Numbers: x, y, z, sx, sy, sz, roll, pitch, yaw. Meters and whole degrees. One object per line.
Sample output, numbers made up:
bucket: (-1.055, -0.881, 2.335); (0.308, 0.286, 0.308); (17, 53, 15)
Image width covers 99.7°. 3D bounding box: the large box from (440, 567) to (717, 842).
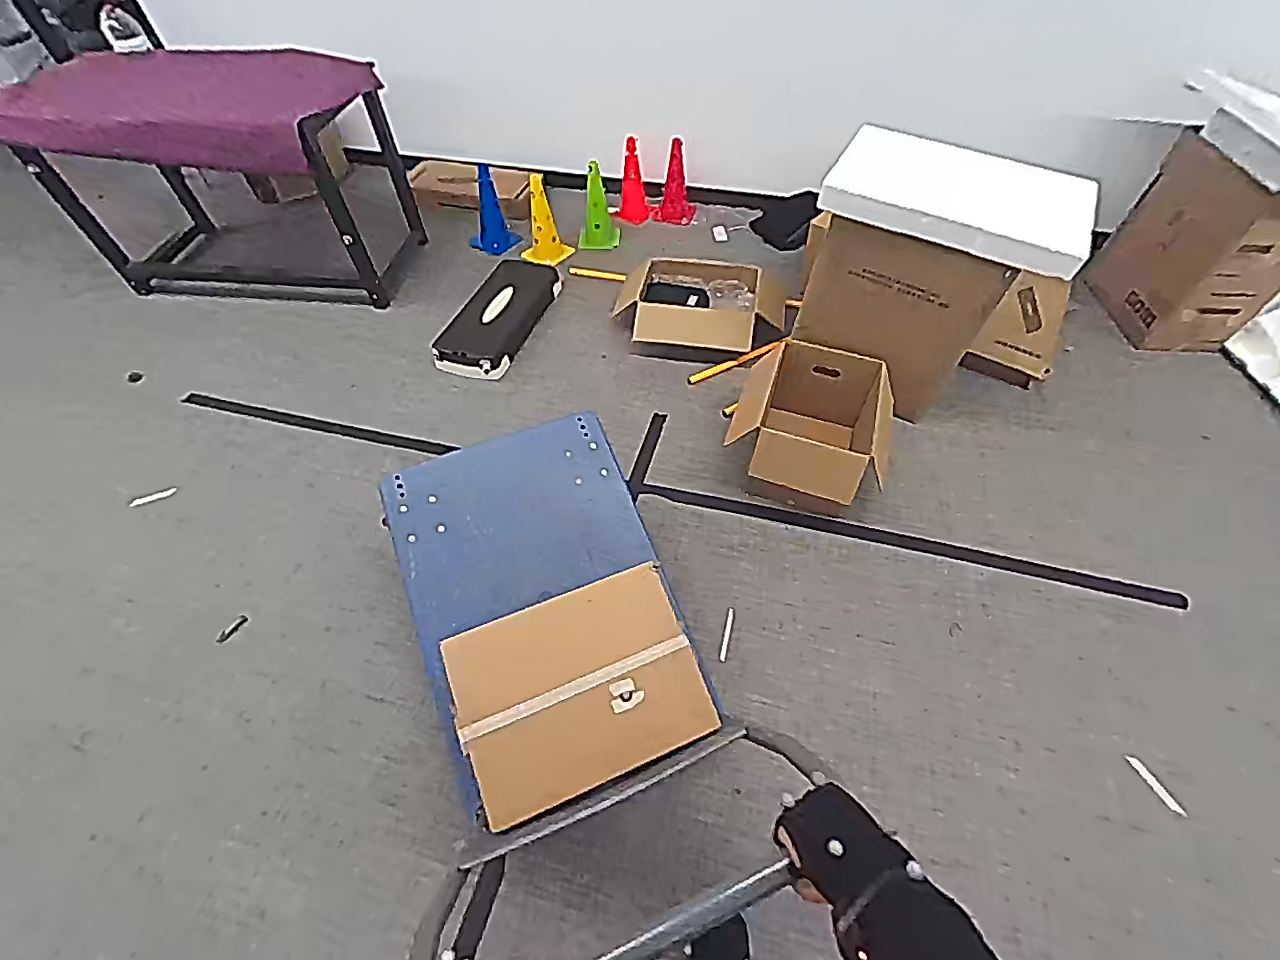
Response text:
large box: (-0.121, 0.417, 1.059); (0.408, 0.320, 0.320); (-20, 73, -14)
